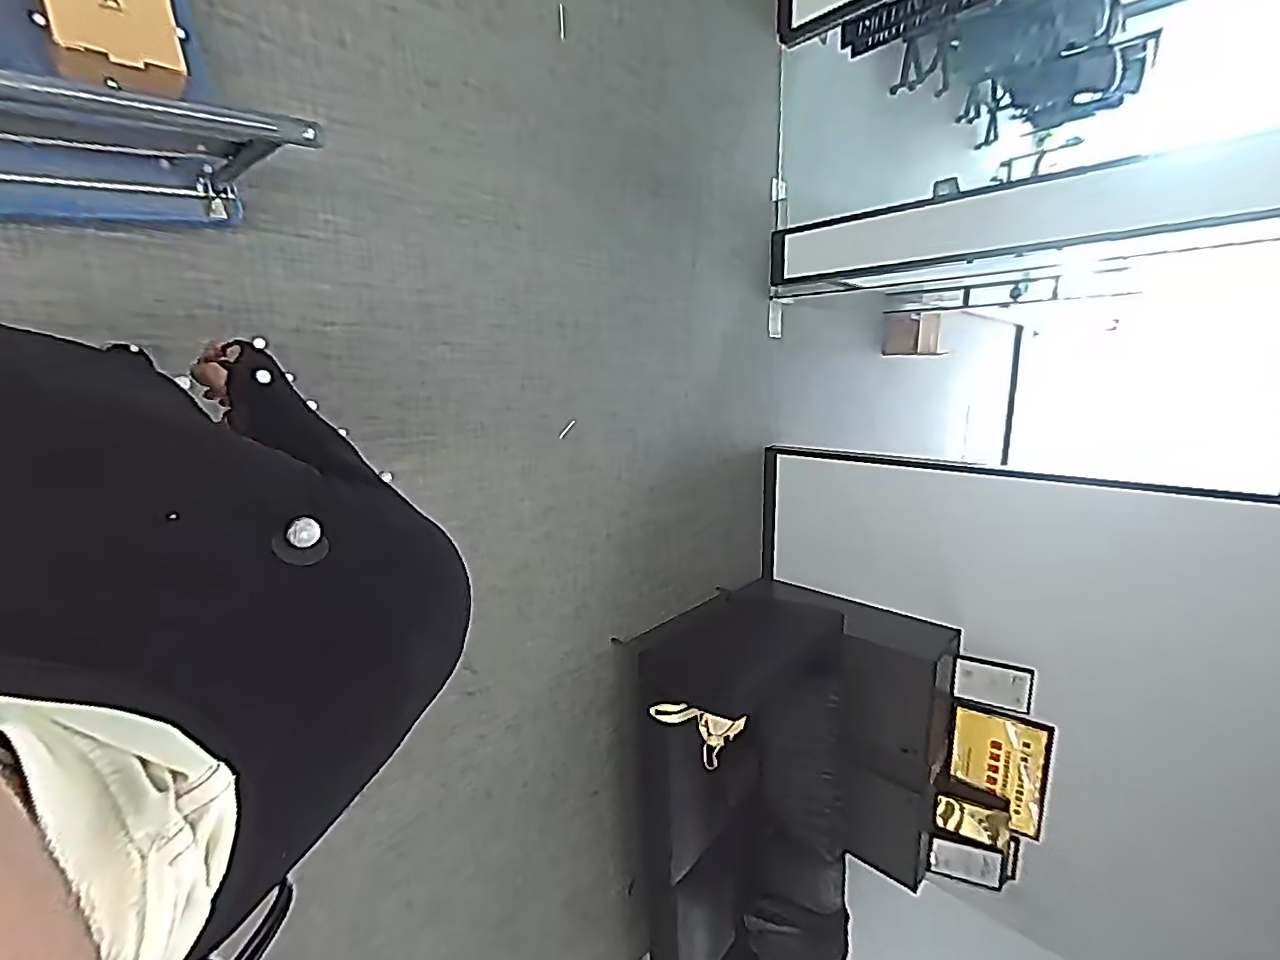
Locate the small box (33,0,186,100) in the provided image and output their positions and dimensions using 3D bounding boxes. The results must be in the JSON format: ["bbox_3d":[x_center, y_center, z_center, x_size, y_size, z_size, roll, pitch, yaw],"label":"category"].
[{"bbox_3d":[-0.925,-0.803,0.936,0.168,0.176,0.179,-19,111,-44],"label":"small box"}]
